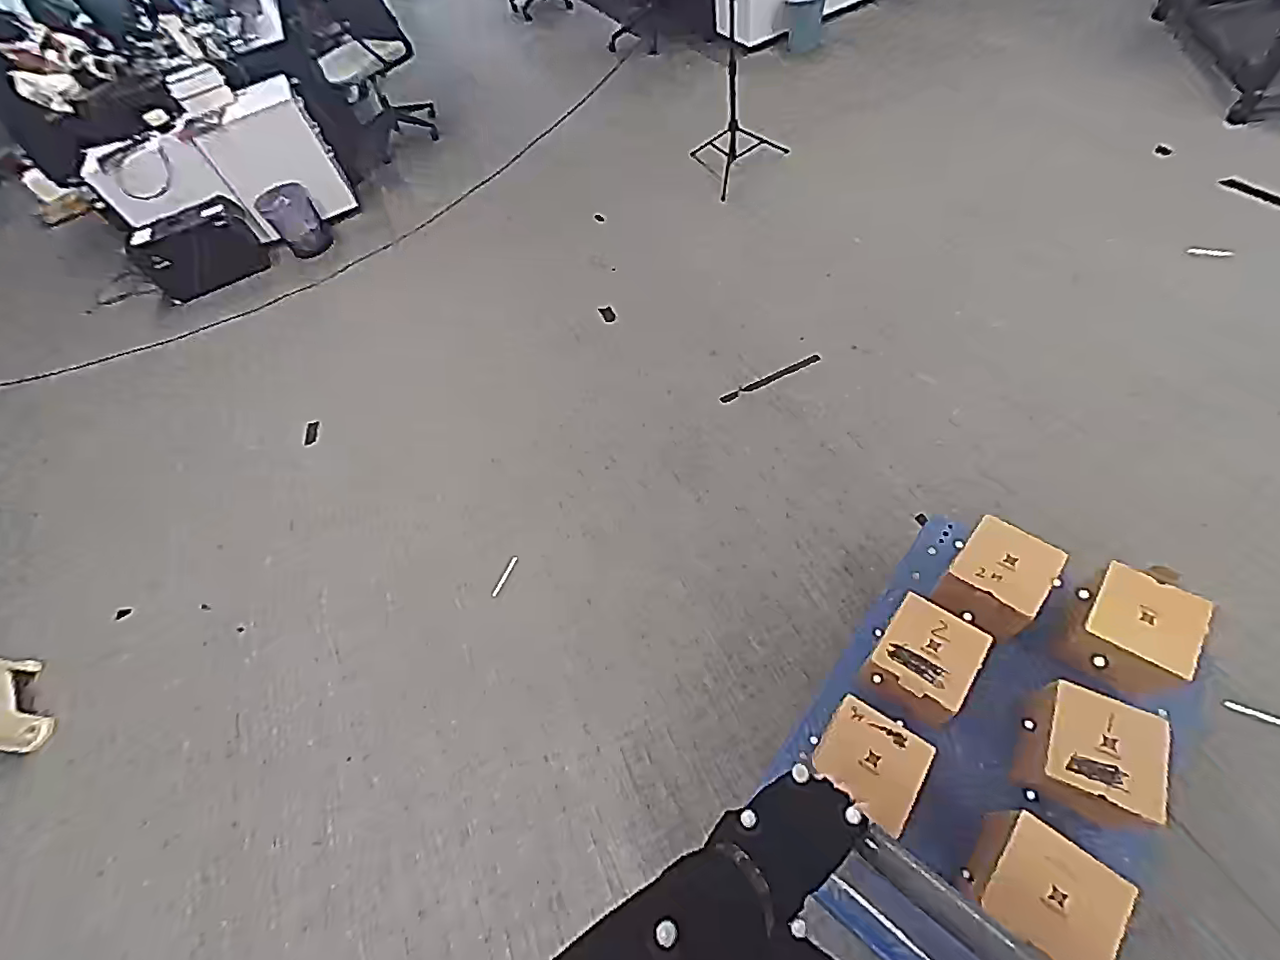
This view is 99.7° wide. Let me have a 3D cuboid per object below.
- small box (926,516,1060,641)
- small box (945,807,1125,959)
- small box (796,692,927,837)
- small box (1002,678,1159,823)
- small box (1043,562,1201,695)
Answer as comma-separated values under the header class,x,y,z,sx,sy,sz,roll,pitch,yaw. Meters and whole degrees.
class,x,y,z,sx,sy,sz,roll,pitch,yaw
small box,0.757,0.217,1.181,0.168,0.176,0.179,34,70,28
small box,0.638,0.683,0.898,0.168,0.176,0.179,33,68,27
small box,0.411,0.543,1.031,0.168,0.176,0.179,29,67,25
small box,0.793,0.498,0.989,0.168,0.176,0.179,20,62,22
small box,0.956,0.303,1.088,0.168,0.176,0.179,29,67,26
